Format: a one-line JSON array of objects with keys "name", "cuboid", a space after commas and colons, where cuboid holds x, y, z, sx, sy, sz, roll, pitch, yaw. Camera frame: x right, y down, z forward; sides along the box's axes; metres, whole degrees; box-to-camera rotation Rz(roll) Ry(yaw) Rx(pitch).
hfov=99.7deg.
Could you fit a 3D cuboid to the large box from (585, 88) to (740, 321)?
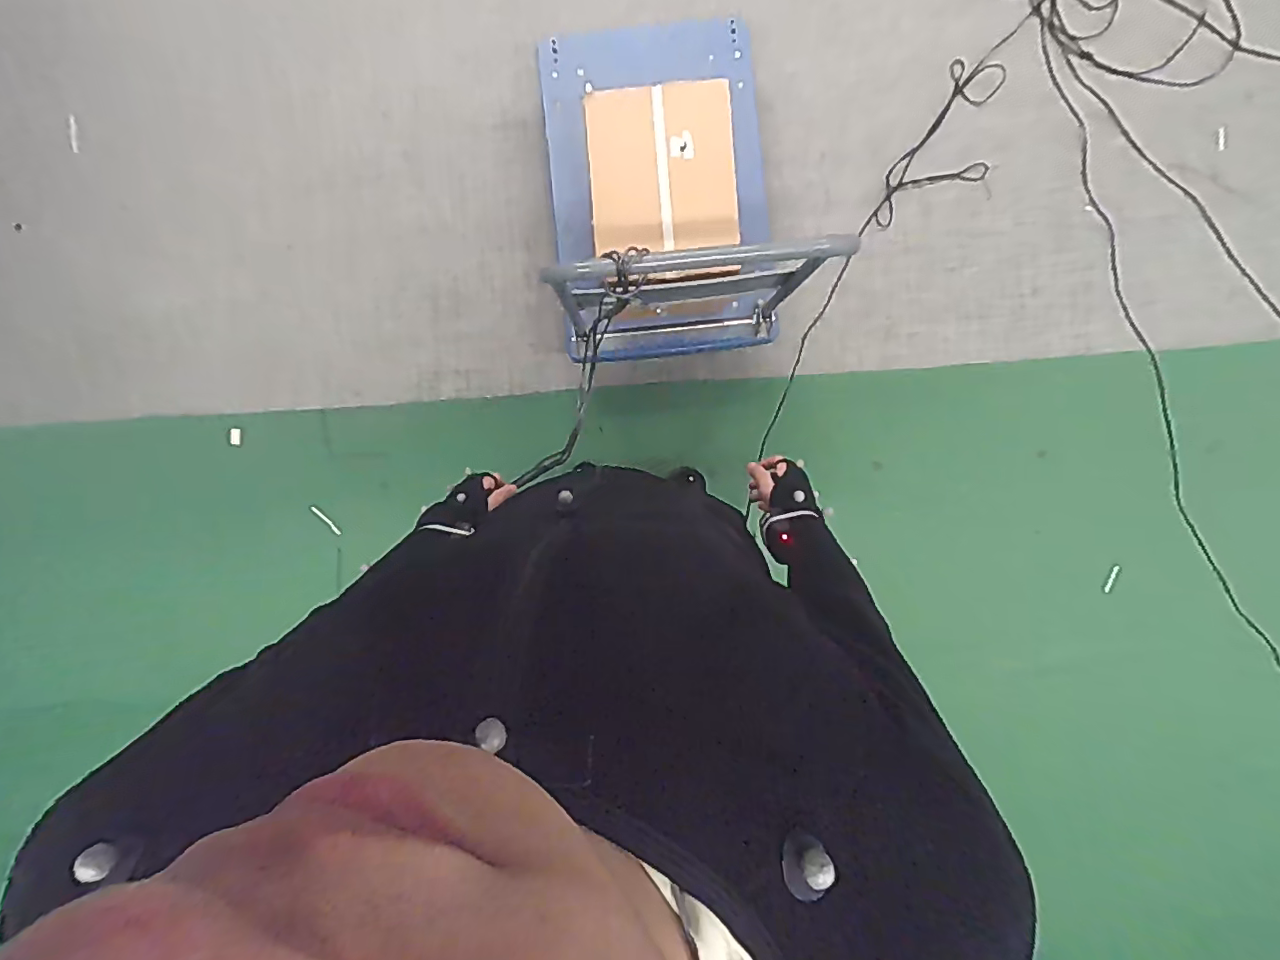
[{"name": "large box", "cuboid": [0.051, -0.638, 1.316, 0.320, 0.320, 0.408, -4, 90, 0]}]
